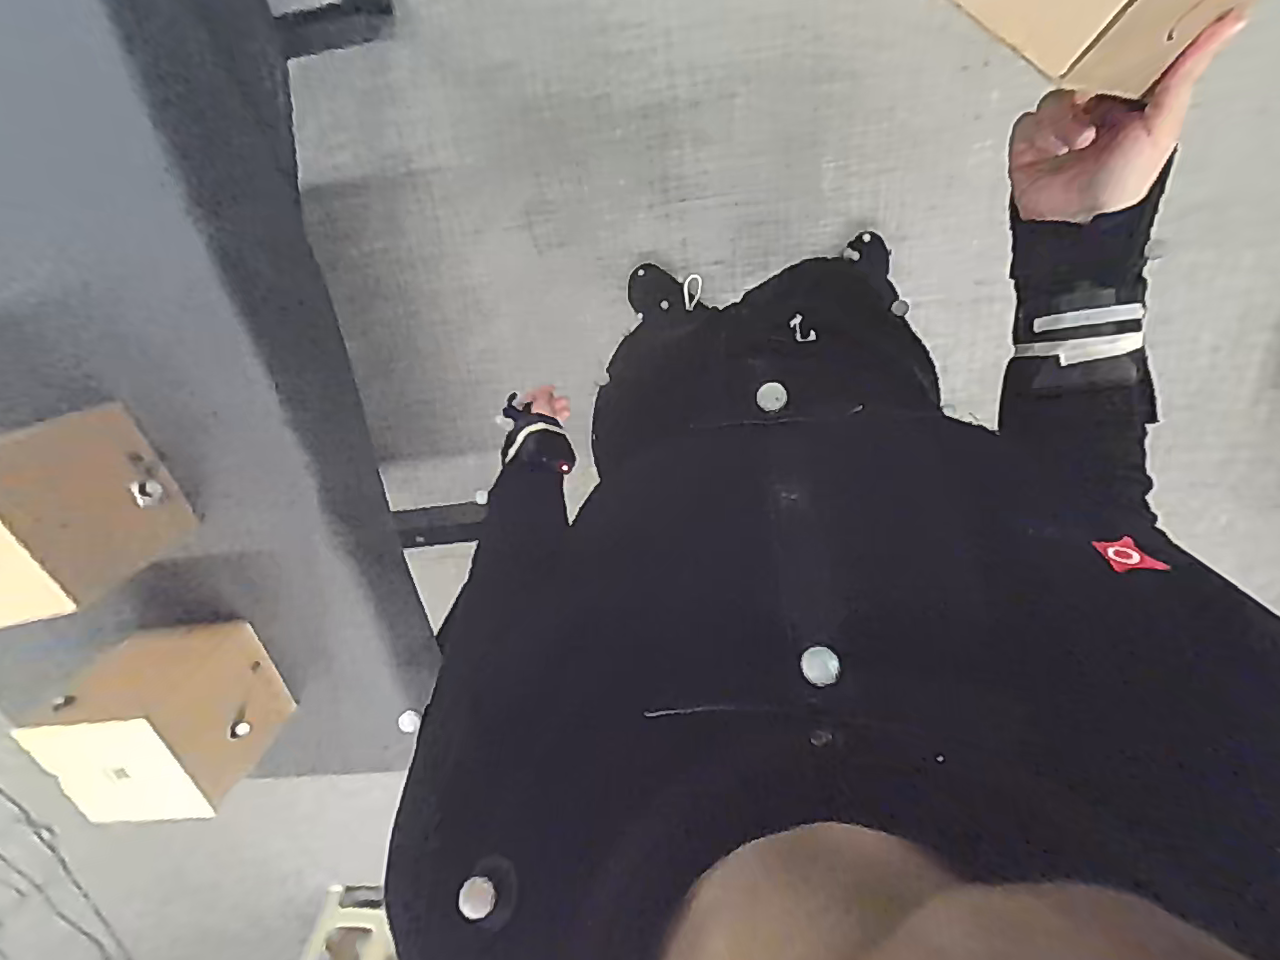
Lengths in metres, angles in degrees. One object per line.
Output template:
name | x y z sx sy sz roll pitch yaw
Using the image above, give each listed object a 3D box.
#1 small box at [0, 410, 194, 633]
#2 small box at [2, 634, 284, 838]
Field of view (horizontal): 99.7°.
small box | -0.639 0.043 0.564 0.179 0.176 0.168 -14 114 8
small box | -0.596 0.314 0.685 0.179 0.176 0.168 -8 114 7
